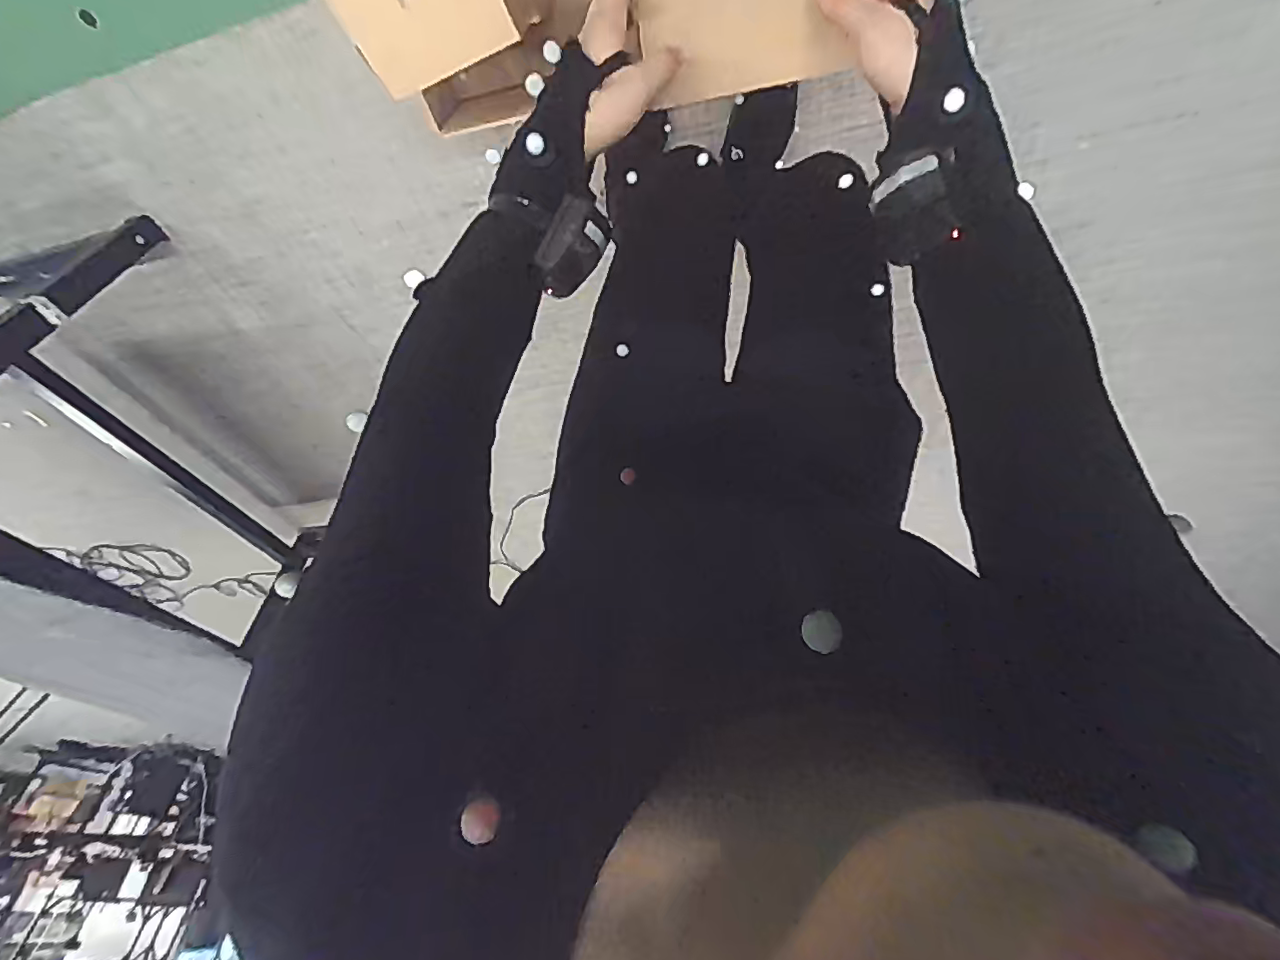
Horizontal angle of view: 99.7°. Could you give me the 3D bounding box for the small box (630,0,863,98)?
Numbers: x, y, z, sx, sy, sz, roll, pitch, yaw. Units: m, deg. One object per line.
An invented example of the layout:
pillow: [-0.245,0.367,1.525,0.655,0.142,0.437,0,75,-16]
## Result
small box: [0.075,-0.449,0.436,0.179,0.176,0.168,-8,144,5]

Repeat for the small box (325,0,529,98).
small box: [-0.237,-0.563,0.588,0.179,0.176,0.168,-12,140,16]
